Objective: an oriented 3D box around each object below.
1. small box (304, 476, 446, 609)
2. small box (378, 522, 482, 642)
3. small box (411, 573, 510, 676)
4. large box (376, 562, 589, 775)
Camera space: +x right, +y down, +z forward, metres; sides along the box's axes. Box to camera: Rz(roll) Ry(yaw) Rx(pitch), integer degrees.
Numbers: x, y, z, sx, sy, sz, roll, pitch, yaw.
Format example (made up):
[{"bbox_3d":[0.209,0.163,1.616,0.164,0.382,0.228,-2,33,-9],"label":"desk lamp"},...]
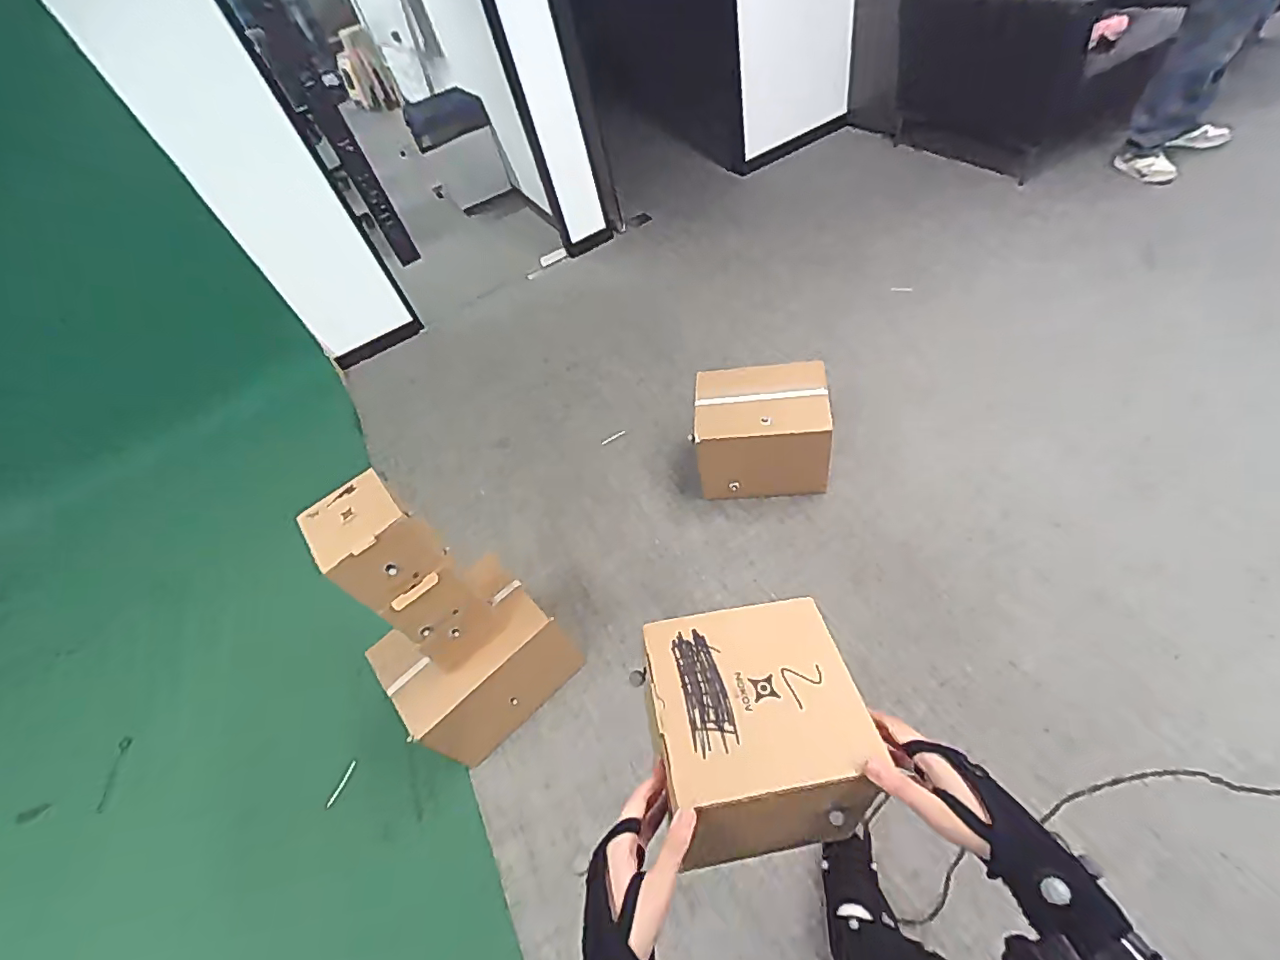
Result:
[{"bbox_3d":[-0.519,0.133,1.077,0.168,0.176,0.179,-37,53,-16],"label":"small box"},{"bbox_3d":[-0.479,0.234,1.200,0.168,0.176,0.179,-36,52,-15],"label":"small box"},{"bbox_3d":[-0.450,0.344,1.318,0.179,0.176,0.168,-38,53,-16],"label":"small box"},{"bbox_3d":[-0.416,0.515,1.493,0.408,0.320,0.320,-42,51,-17],"label":"large box"}]
